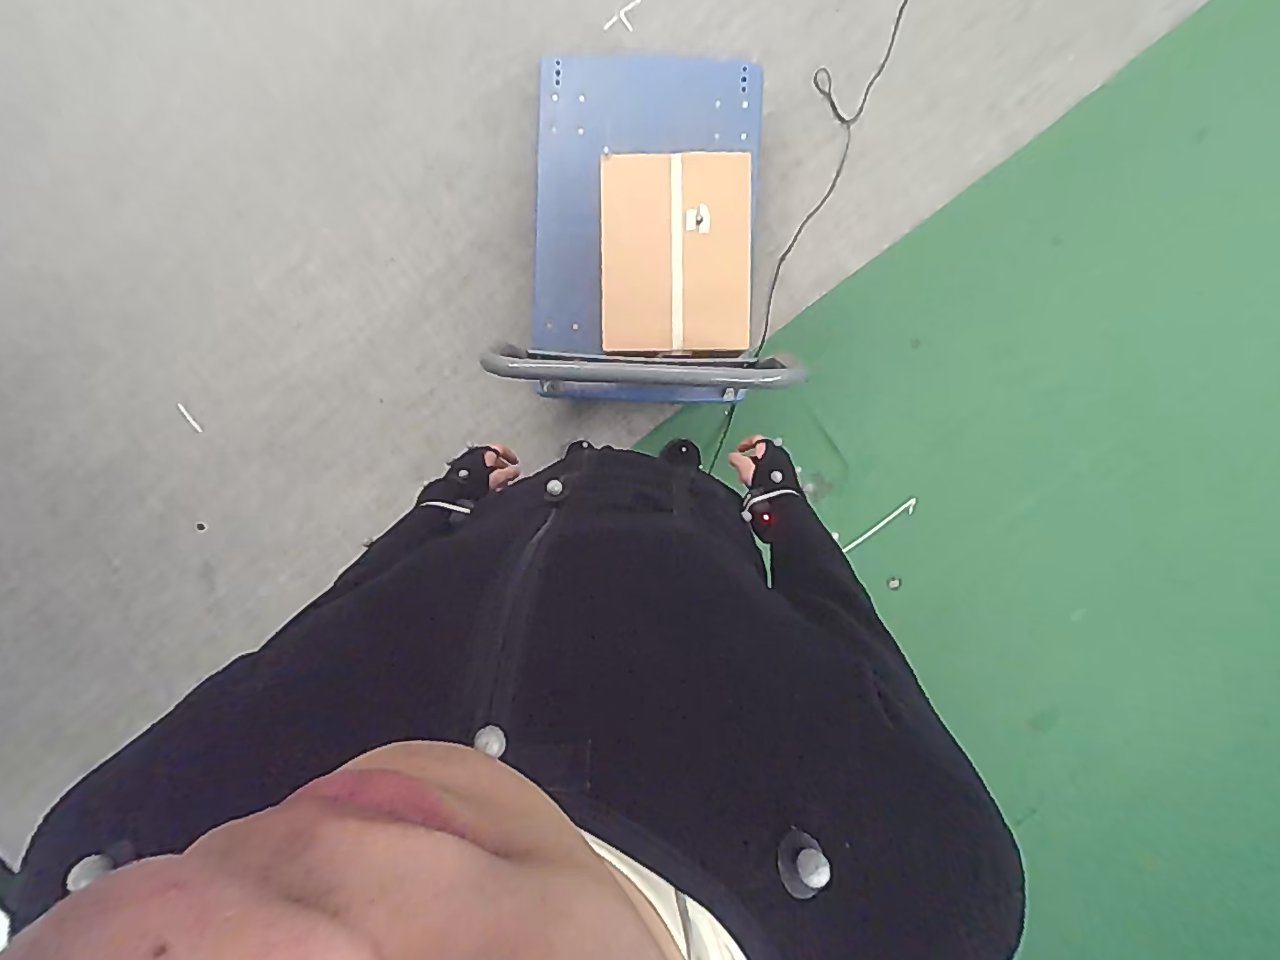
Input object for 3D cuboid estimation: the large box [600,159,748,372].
[{"bbox_3d":[0.075,-0.484,1.301,0.320,0.320,0.408,0,93,-1],"label":"large box"}]
